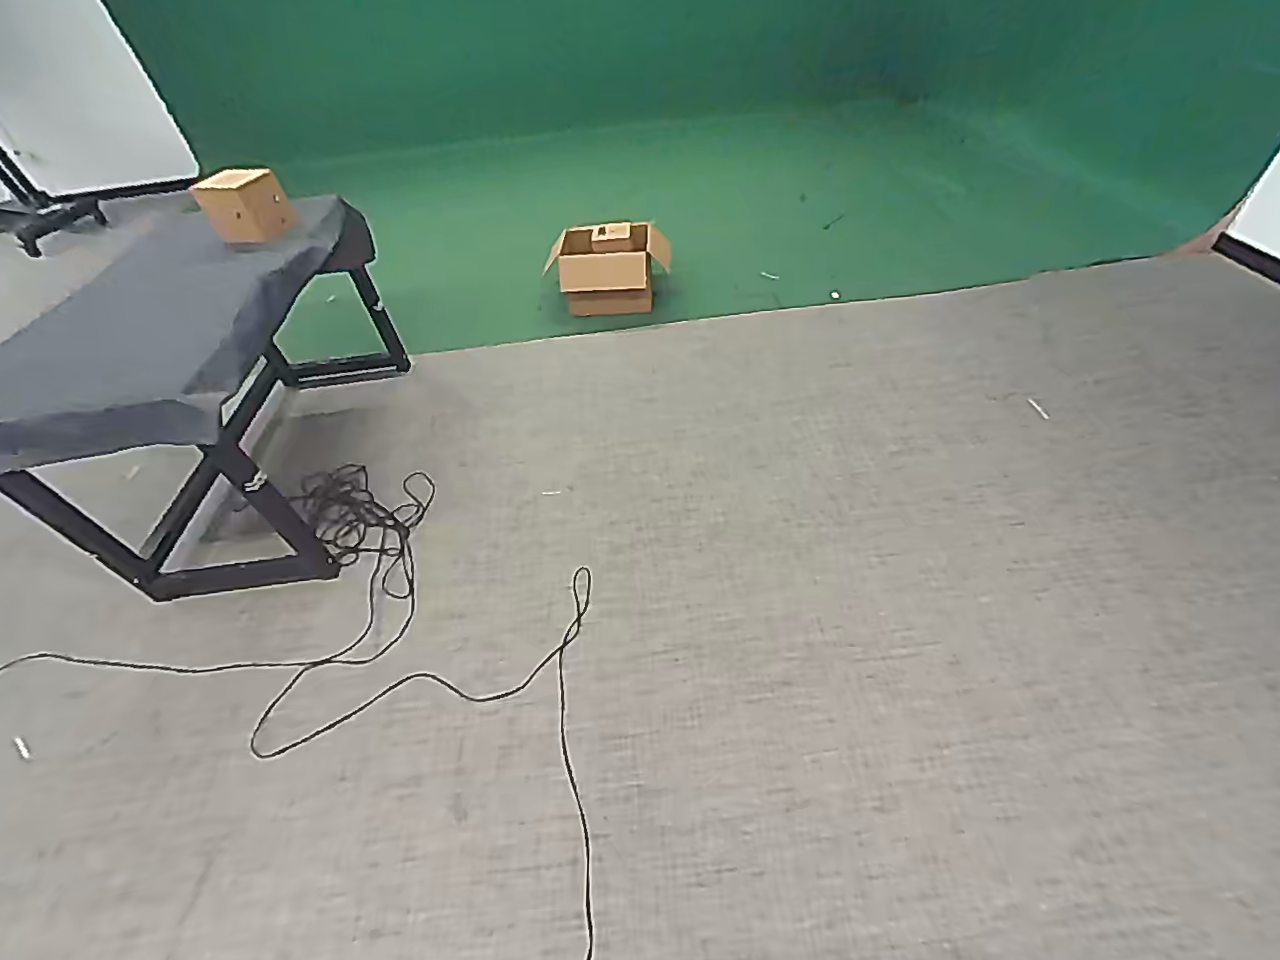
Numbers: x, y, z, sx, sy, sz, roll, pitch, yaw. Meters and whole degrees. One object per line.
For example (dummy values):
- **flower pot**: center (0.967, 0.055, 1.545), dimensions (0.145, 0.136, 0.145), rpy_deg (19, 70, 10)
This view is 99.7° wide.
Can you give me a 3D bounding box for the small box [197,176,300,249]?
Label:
- **small box**: center (-1.255, -0.863, 1.750), dimensions (0.179, 0.176, 0.168), rpy_deg (5, 46, 14)
